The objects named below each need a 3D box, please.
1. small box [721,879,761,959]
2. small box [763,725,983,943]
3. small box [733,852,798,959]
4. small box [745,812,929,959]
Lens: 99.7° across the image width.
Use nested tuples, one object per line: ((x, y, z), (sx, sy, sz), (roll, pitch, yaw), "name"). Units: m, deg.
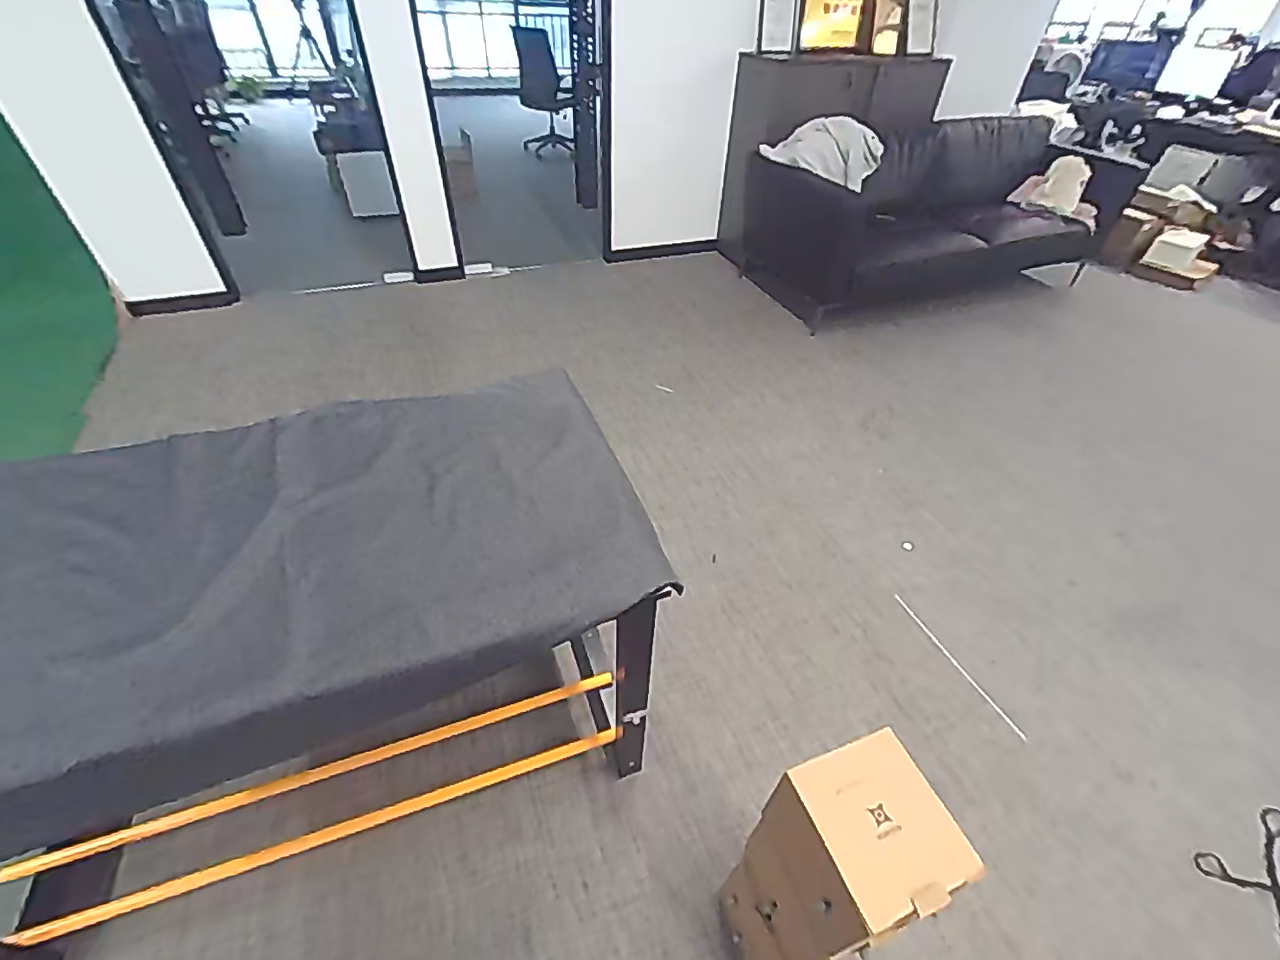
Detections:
((0.274, 0.825, 1.028), (0.179, 0.176, 0.168), (-12, 43, -17), "small box")
((0.284, 0.460, 0.702), (0.168, 0.176, 0.179), (-13, 44, -18), "small box")
((0.270, 0.710, 0.913), (0.179, 0.176, 0.168), (-13, 45, -18), "small box")
((0.278, 0.583, 0.807), (0.168, 0.176, 0.179), (-12, 45, -17), "small box")
